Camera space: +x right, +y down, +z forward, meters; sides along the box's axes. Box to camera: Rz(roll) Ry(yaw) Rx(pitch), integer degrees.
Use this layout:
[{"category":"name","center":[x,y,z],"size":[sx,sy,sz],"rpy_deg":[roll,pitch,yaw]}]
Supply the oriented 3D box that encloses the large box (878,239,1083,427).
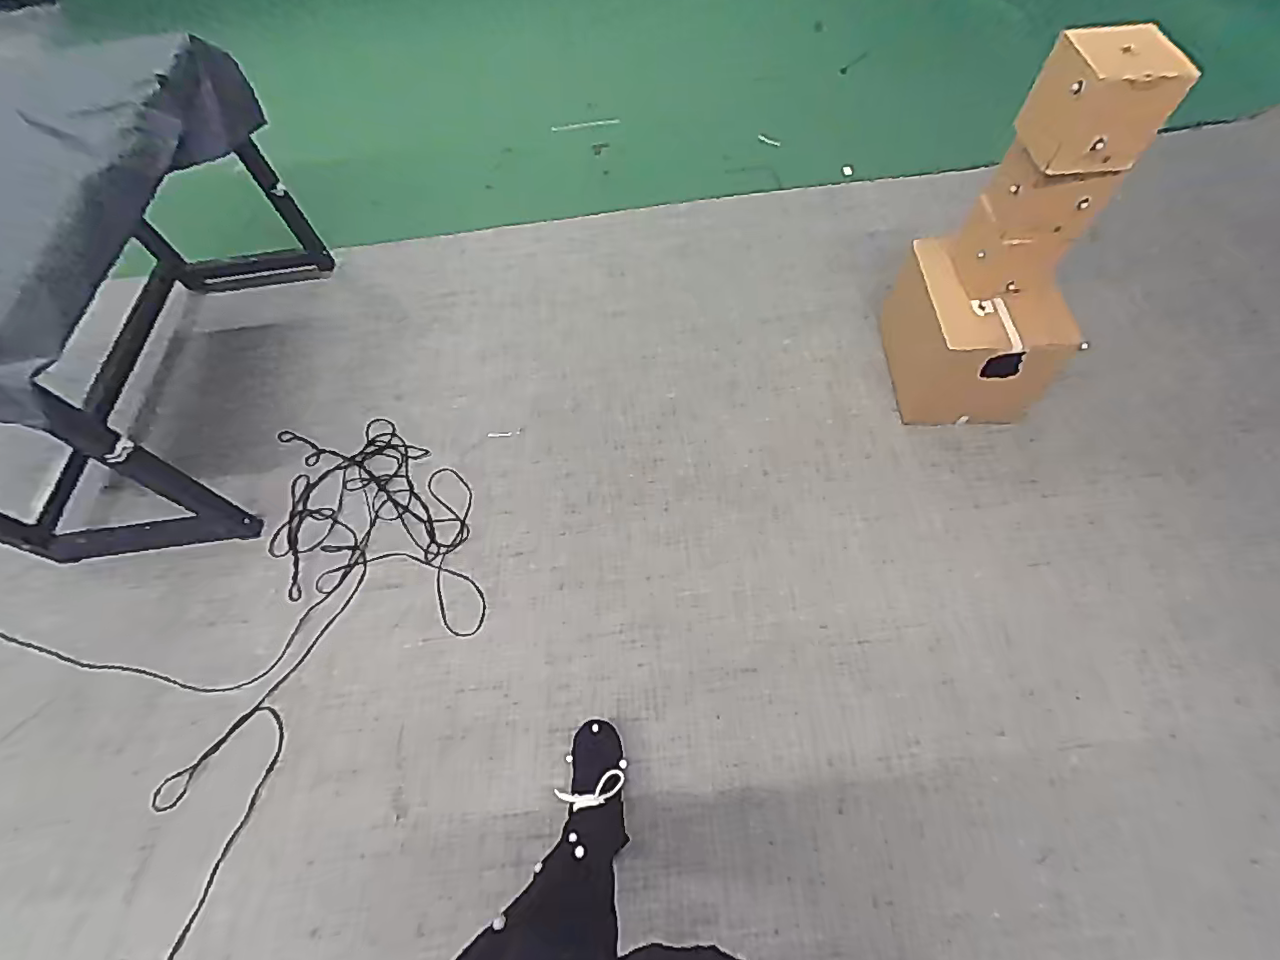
[{"category":"large box","center":[0.898,-0.401,1.498],"size":[0.320,0.320,0.408],"rpy_deg":[-2,61,5]}]

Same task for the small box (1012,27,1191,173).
[{"category":"small box","center":[0.851,-0.715,1.023],"size":[0.168,0.176,0.179],"rpy_deg":[-3,61,2]}]

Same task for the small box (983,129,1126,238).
[{"category":"small box","center":[0.881,-0.647,1.170],"size":[0.168,0.176,0.179],"rpy_deg":[3,60,6]}]
